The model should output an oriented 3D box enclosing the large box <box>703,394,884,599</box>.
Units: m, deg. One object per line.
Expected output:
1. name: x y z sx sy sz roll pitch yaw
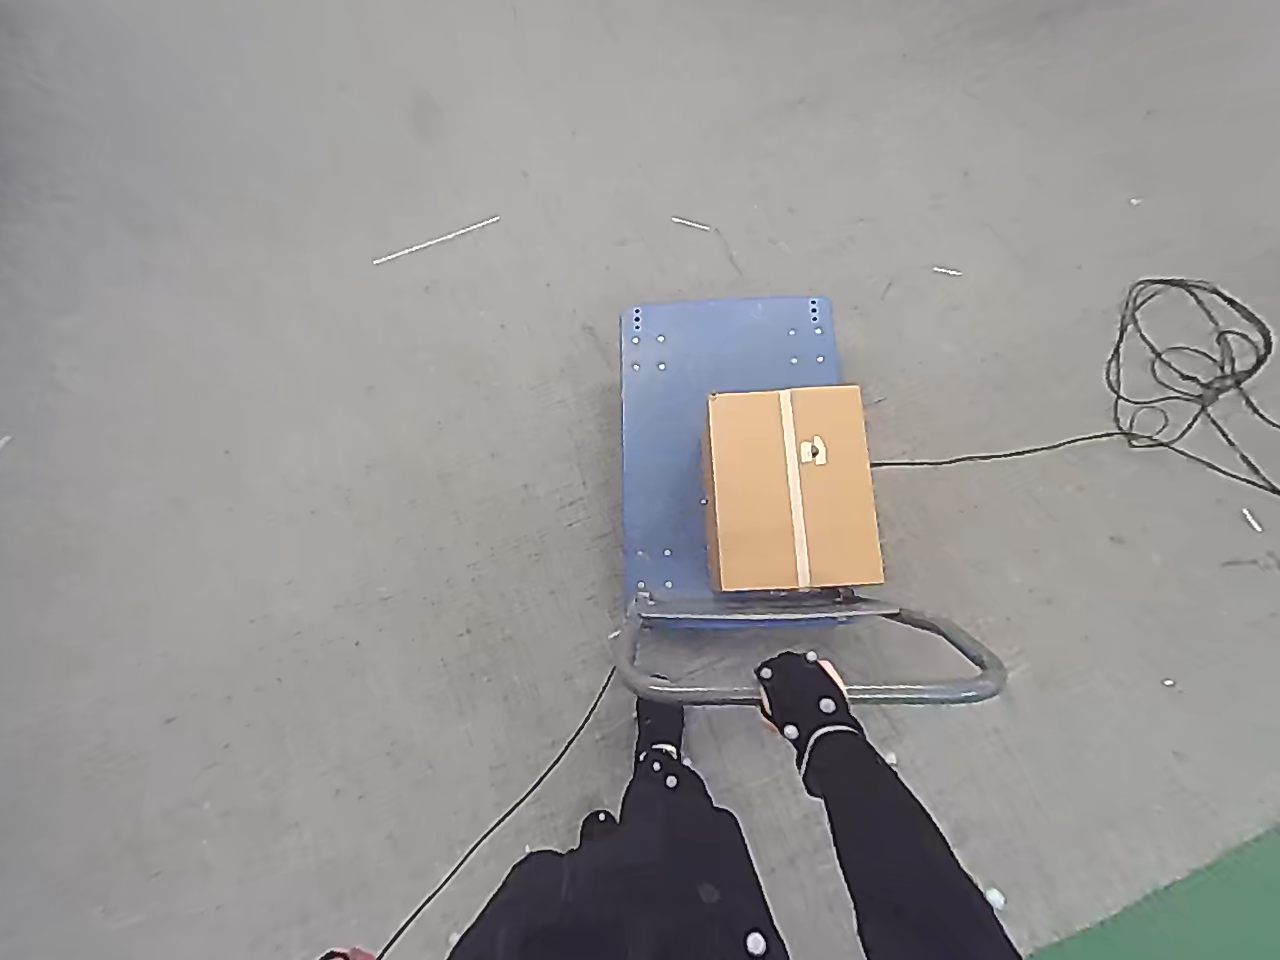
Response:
1. large box: 0.314 0.057 1.224 0.320 0.320 0.408 -3 78 2
